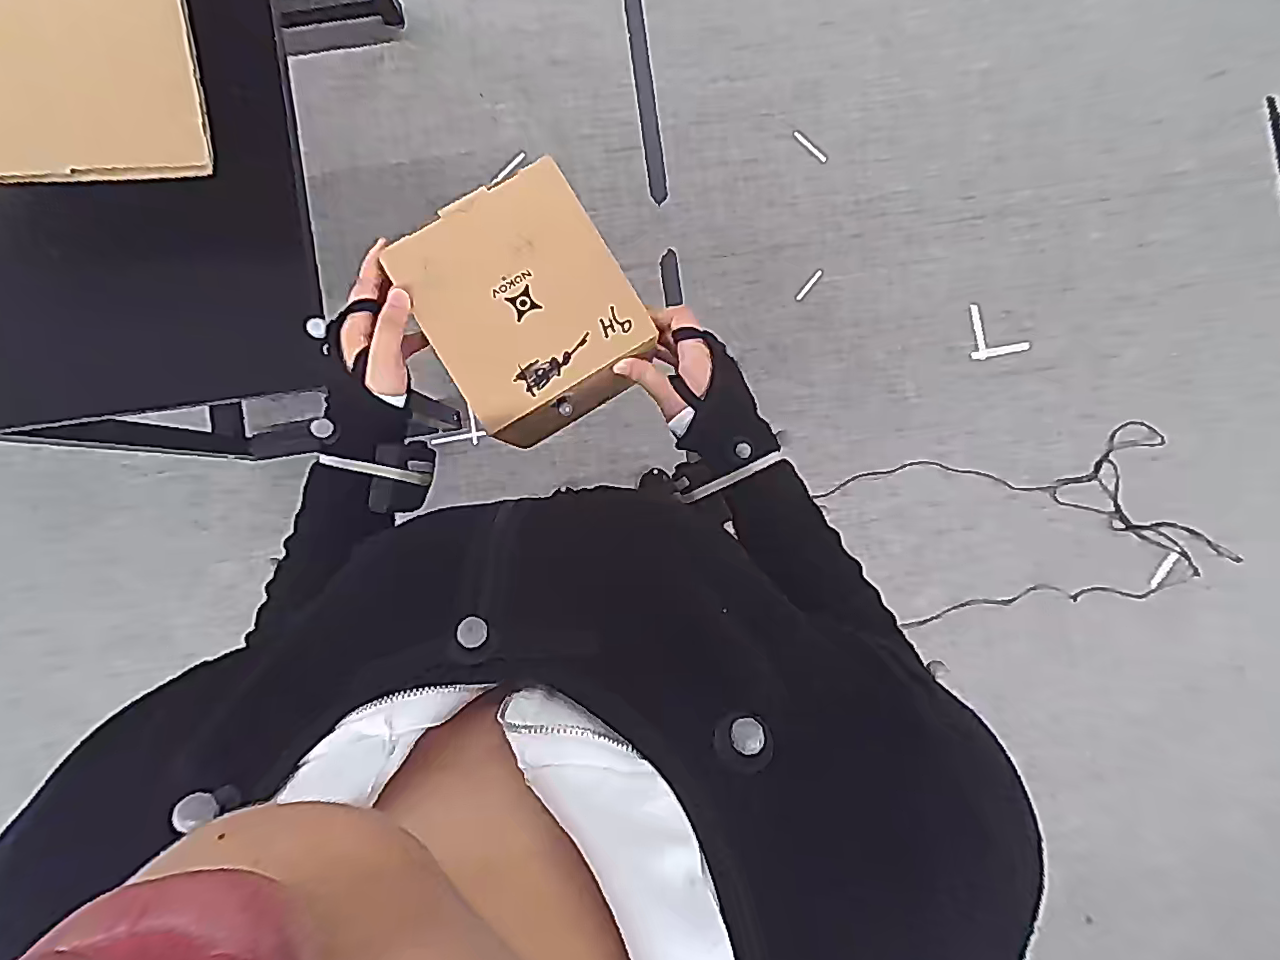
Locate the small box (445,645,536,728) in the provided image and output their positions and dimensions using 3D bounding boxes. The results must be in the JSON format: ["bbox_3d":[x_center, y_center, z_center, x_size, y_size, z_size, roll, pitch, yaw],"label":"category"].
[{"bbox_3d":[-0.381,0.546,1.405,0.179,0.176,0.168,-12,90,-3],"label":"small box"}]

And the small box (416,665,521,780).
[{"bbox_3d":[-0.381,0.547,1.243,0.179,0.176,0.168,-16,89,-1],"label":"small box"}]
